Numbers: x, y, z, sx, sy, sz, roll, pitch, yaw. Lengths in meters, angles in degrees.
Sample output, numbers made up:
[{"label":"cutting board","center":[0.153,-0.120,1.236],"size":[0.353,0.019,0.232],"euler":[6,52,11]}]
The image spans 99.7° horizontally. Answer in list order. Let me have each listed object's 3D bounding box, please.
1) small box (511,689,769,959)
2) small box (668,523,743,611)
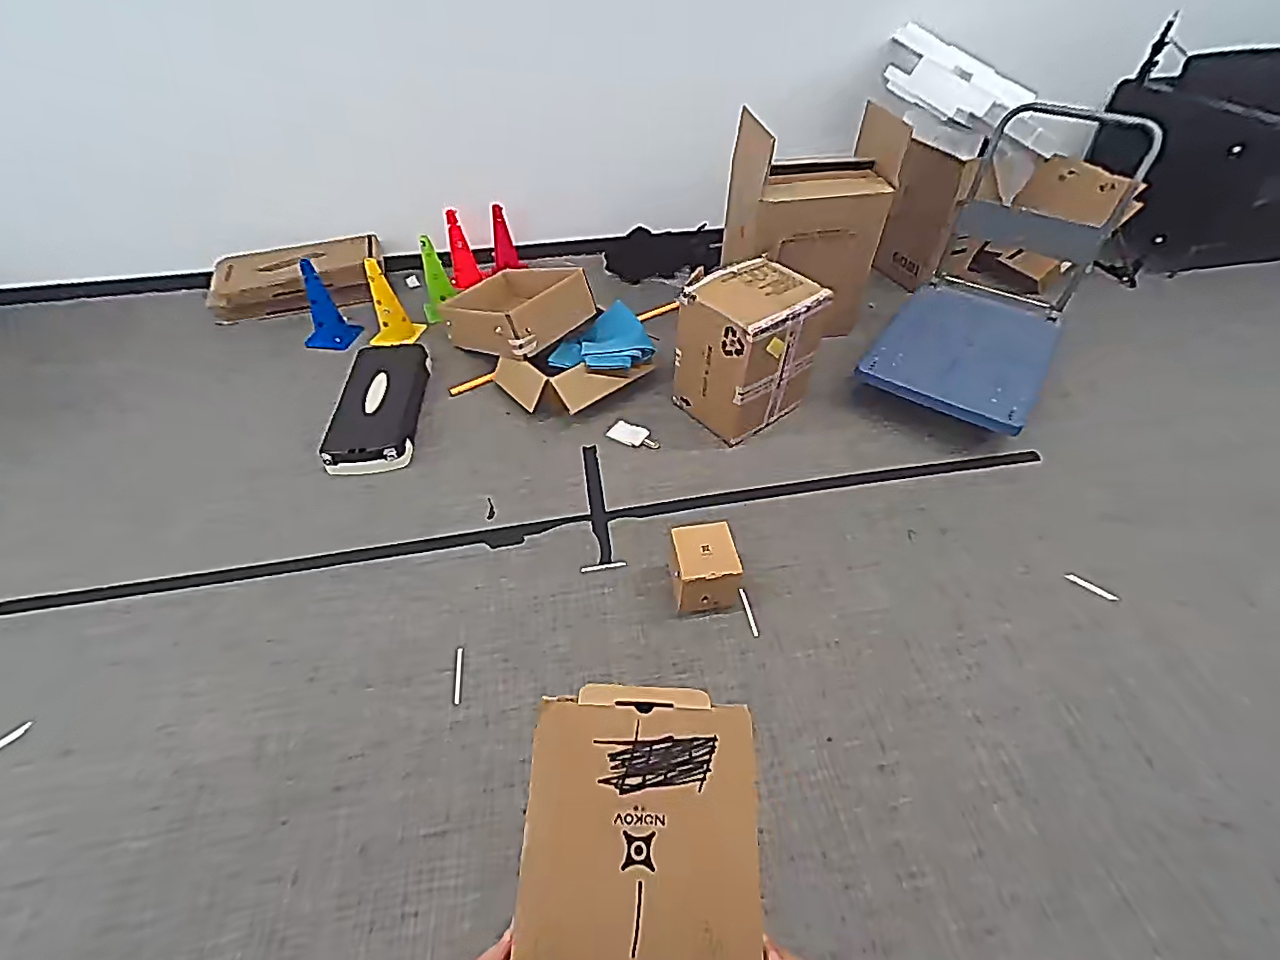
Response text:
[{"label":"small box","center":[0.001,0.278,0.444],"size":[0.168,0.176,0.179],"euler":[2,63,0]},{"label":"small box","center":[0.177,0.246,1.532],"size":[0.168,0.176,0.179],"euler":[-7,48,-7]}]
